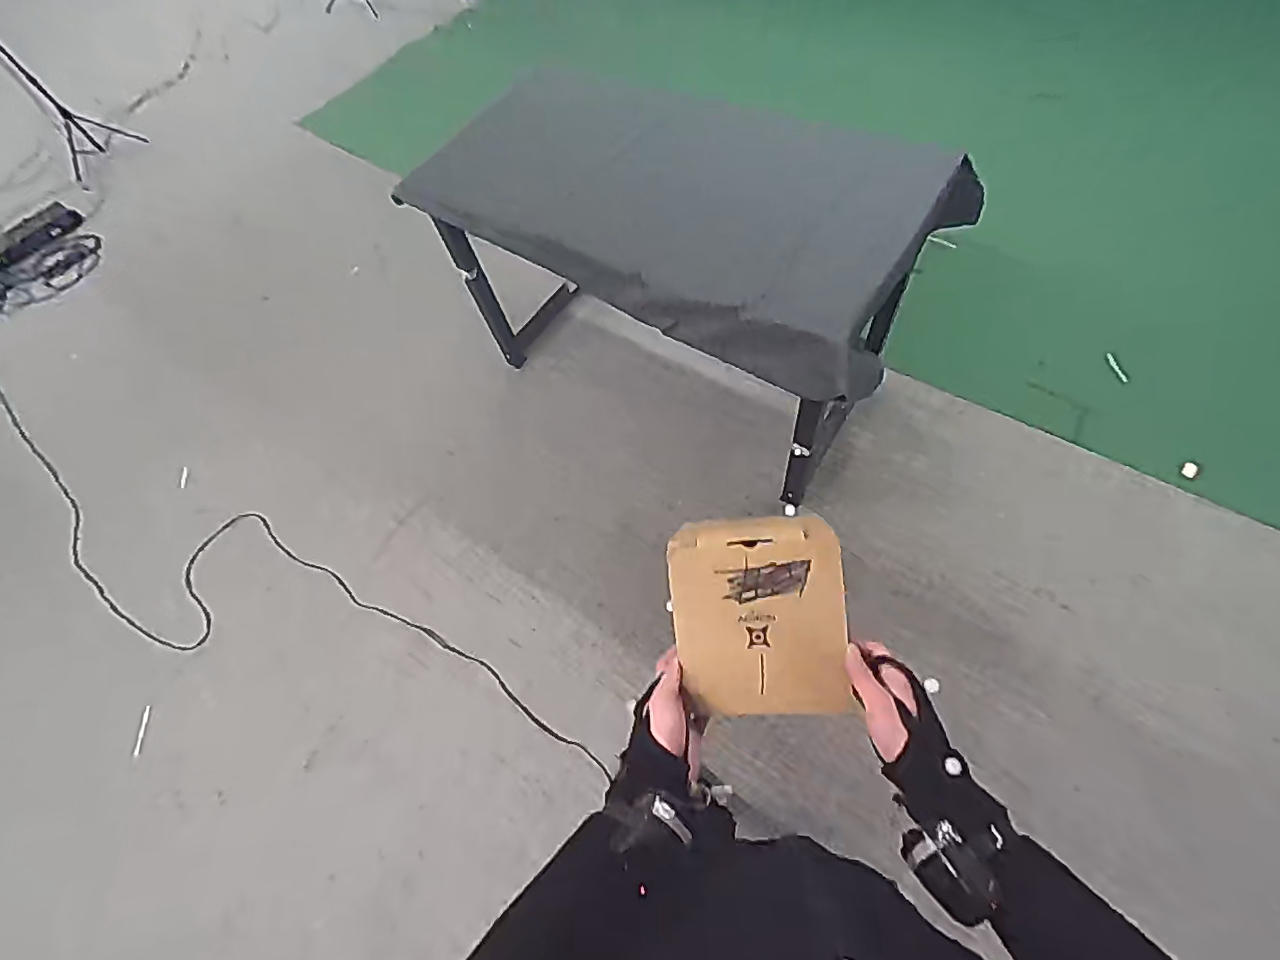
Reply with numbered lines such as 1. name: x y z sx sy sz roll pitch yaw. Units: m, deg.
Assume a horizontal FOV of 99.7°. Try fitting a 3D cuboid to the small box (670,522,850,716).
1. small box: 0.130 0.144 0.612 0.168 0.176 0.179 -6 92 11
